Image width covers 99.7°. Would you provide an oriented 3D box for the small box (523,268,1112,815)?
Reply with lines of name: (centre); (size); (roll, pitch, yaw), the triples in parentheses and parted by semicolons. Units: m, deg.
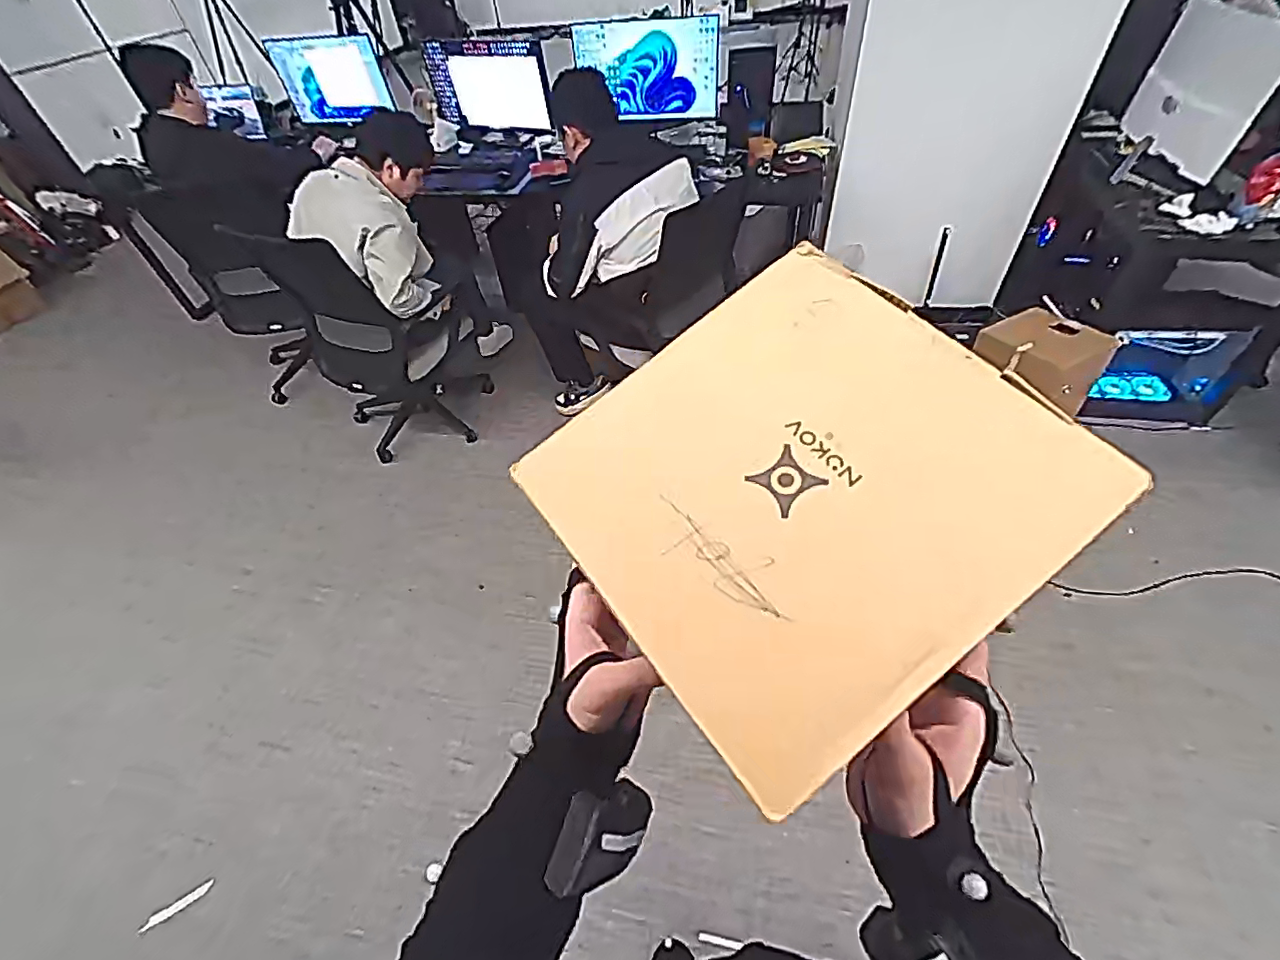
small box: (0.075, 0.034, 0.293); (0.179, 0.176, 0.168); (-40, 64, -5)
